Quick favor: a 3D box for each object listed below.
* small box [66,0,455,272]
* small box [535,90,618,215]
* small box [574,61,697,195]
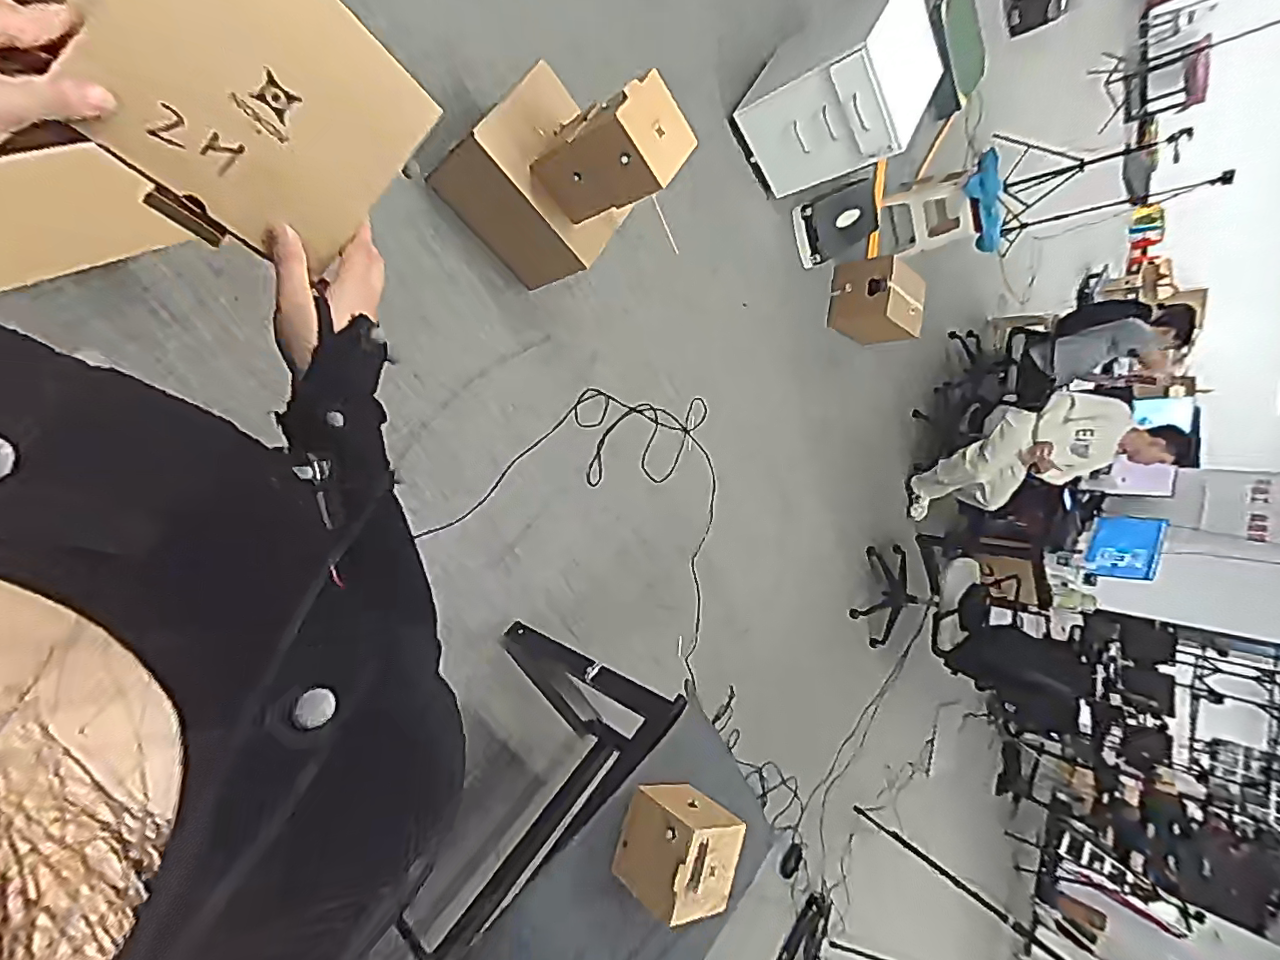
[{"bbox_3d":[-0.287,-0.299,0.432,0.179,0.176,0.168,-53,132,0],"label":"small box"},{"bbox_3d":[-0.124,-0.791,1.325,0.179,0.176,0.168,44,67,-35],"label":"small box"},{"bbox_3d":[-0.011,-0.770,1.210,0.179,0.176,0.168,44,68,-34],"label":"small box"}]
